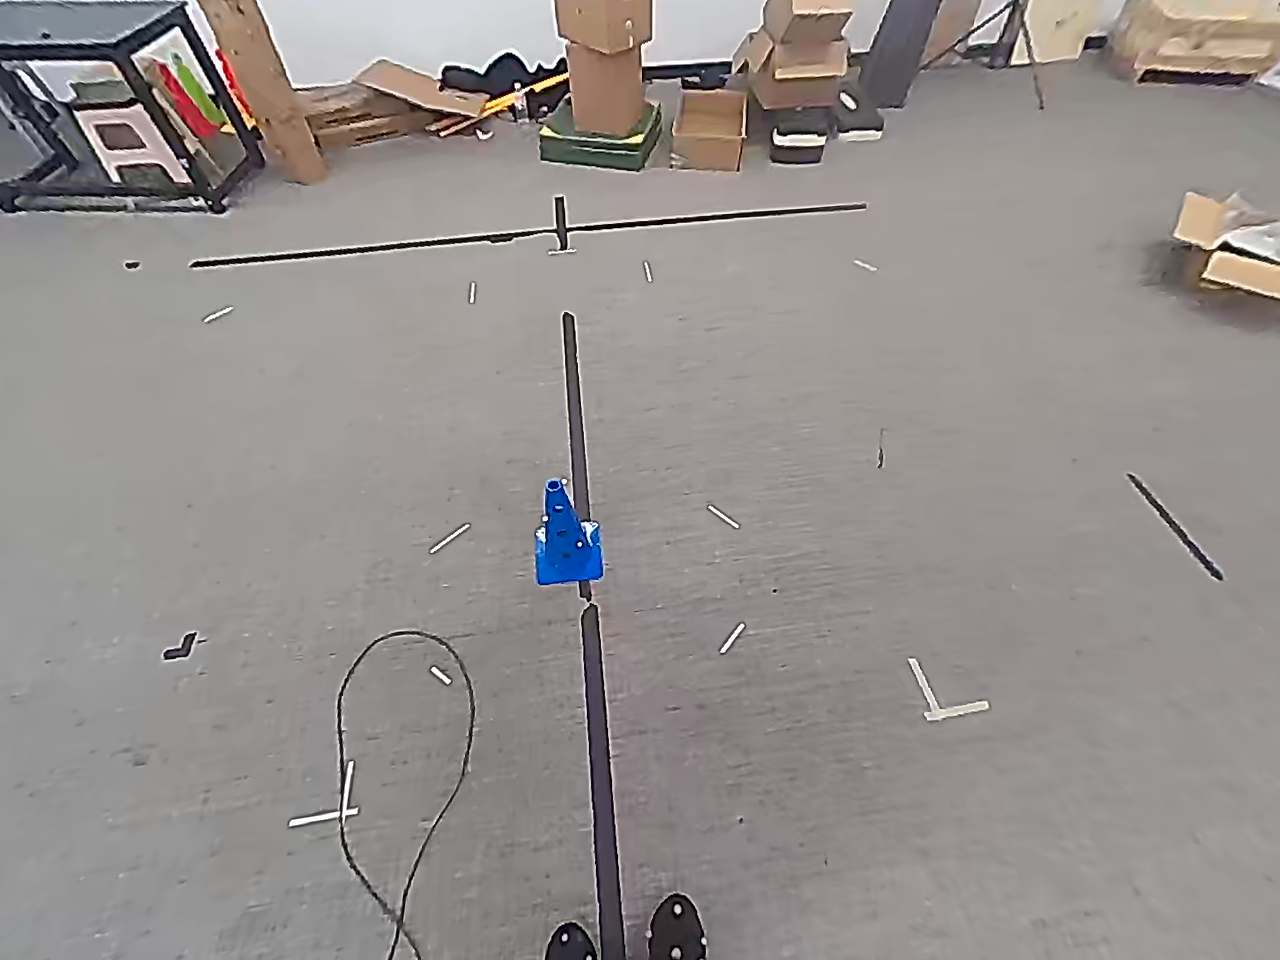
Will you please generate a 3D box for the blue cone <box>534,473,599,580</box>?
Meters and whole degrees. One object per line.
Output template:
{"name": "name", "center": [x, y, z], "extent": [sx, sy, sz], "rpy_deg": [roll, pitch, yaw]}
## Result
{"name": "blue cone", "center": [-0.222, 0.112, 1.492], "extent": [0.193, 0.380, 0.192], "rpy_deg": [-8, 55, -4]}
